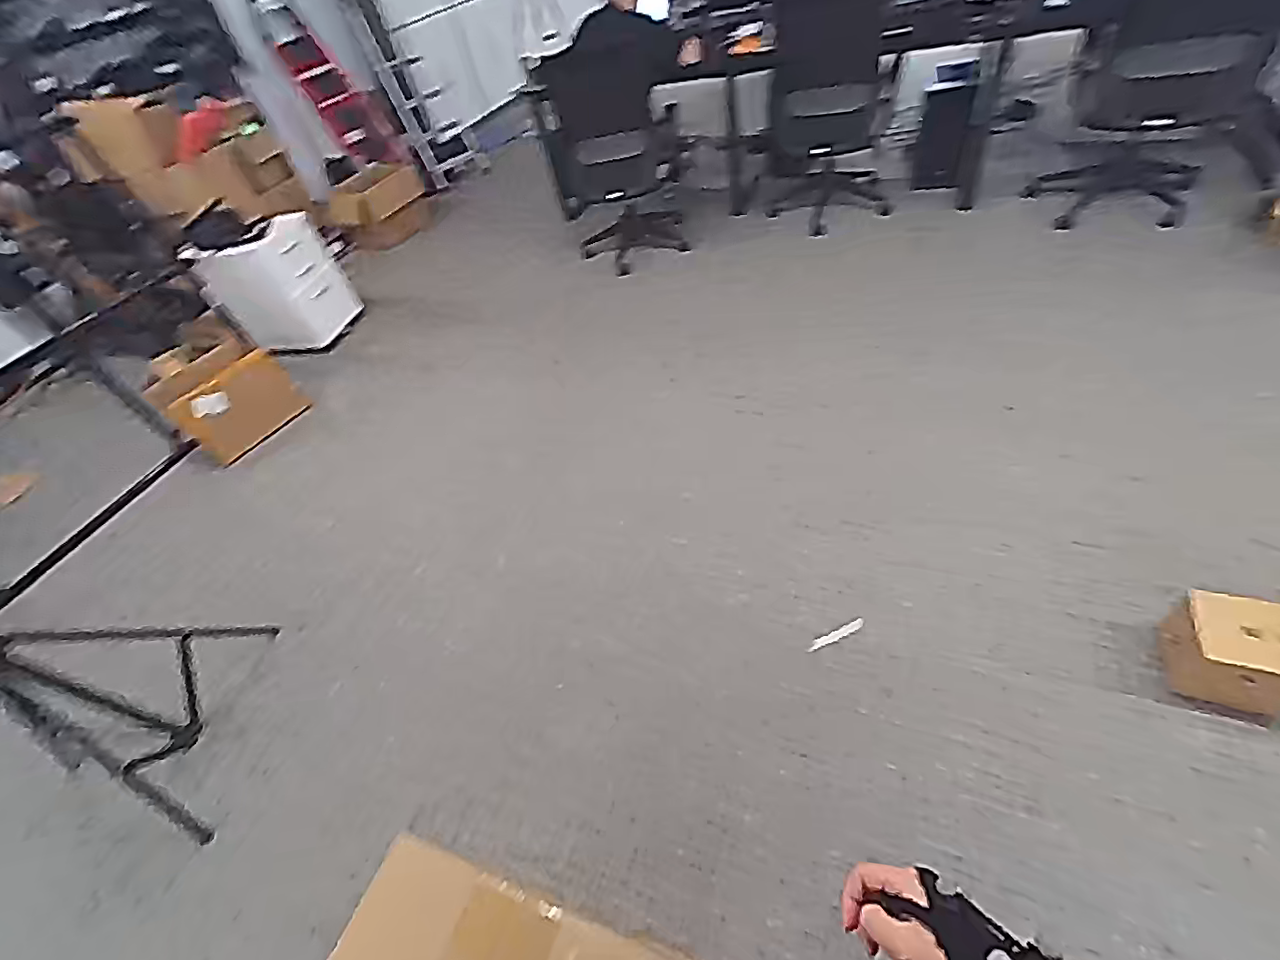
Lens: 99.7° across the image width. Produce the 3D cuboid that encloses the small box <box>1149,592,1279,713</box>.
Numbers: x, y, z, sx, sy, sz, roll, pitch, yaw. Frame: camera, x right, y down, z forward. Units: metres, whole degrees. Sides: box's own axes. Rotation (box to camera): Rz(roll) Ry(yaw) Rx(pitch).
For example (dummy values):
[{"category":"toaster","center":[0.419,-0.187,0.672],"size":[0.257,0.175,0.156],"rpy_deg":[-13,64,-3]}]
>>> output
[{"category":"small box","center":[1.217,0.364,1.136],"size":[0.179,0.176,0.168],"rpy_deg":[10,52,24]}]
